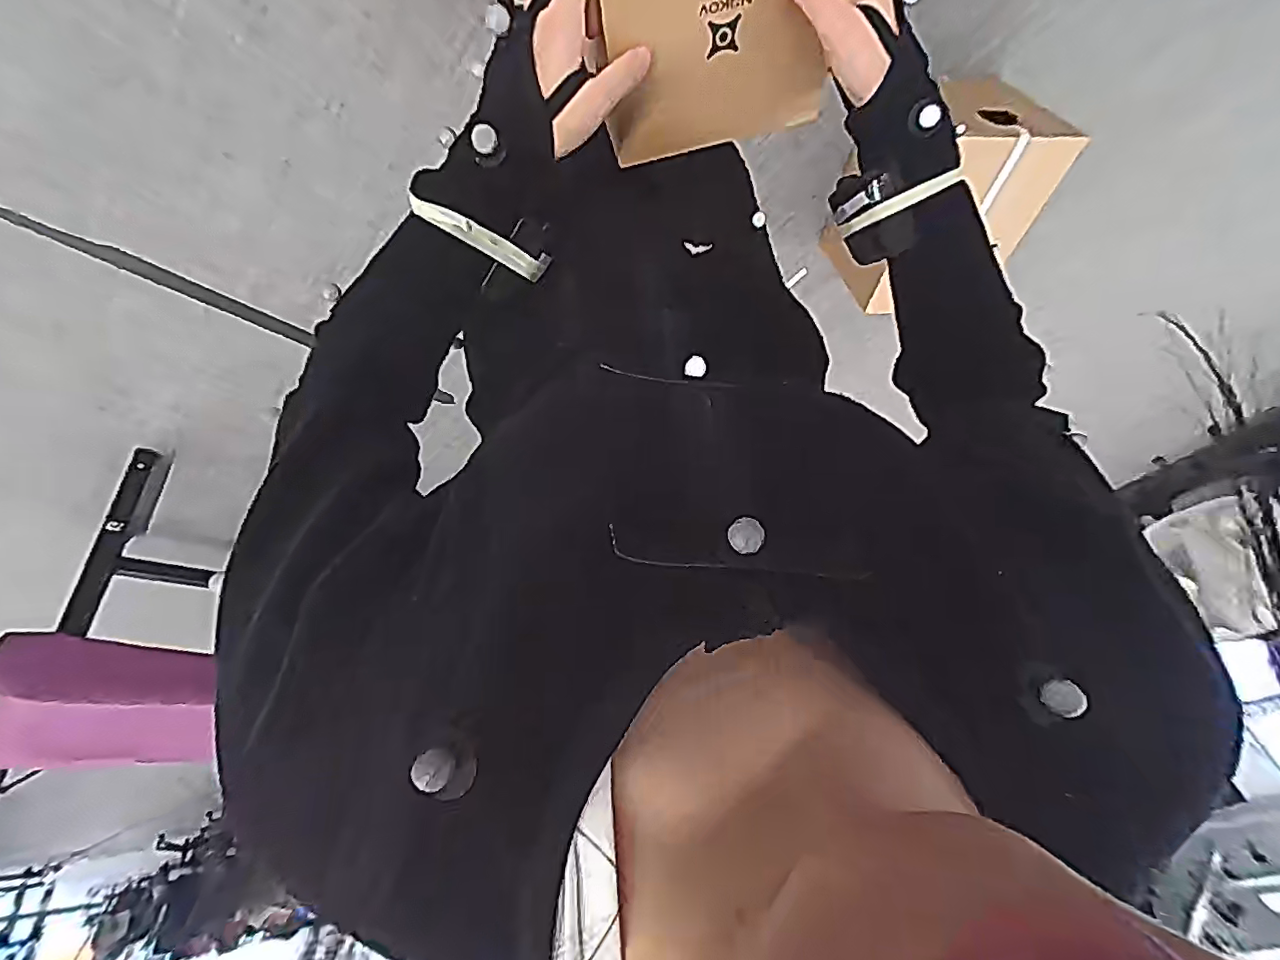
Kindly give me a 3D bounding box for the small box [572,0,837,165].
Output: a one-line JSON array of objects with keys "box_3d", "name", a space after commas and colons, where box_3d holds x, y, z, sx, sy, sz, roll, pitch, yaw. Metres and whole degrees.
[{"box_3d": [0.036, -0.379, 0.393, 0.168, 0.176, 0.179, -15, 158, -1], "name": "small box"}]
